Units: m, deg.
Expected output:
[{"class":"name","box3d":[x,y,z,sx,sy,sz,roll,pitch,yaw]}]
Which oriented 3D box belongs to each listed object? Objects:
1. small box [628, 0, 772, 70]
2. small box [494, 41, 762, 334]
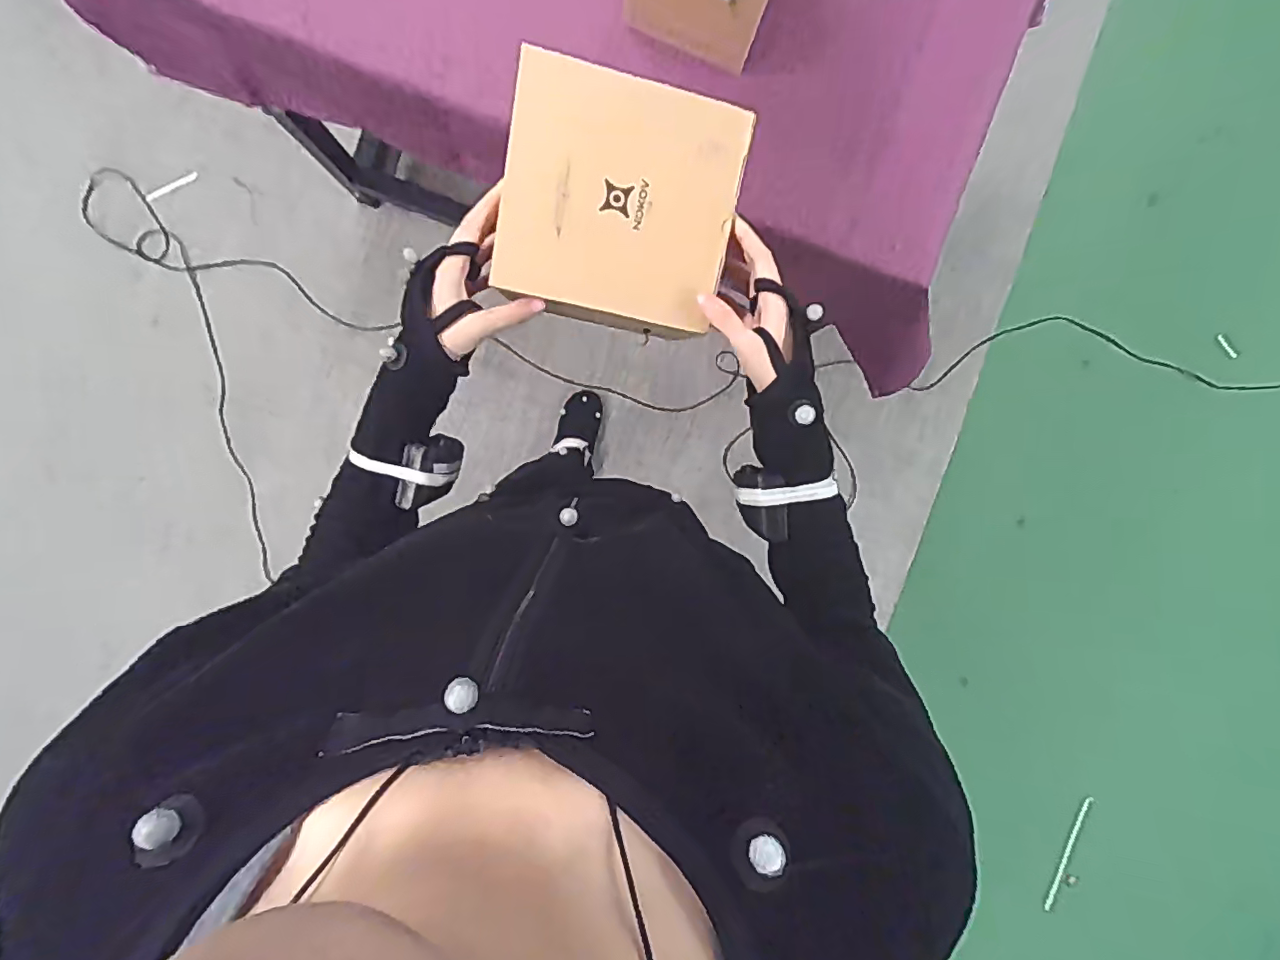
[{"class":"small box","box3d":[0.095,-0.657,0.661,0.179,0.176,0.168,21,91,-4]},{"class":"small box","box3d":[-0.018,-0.231,0.482,0.179,0.176,0.168,11,101,-8]}]
